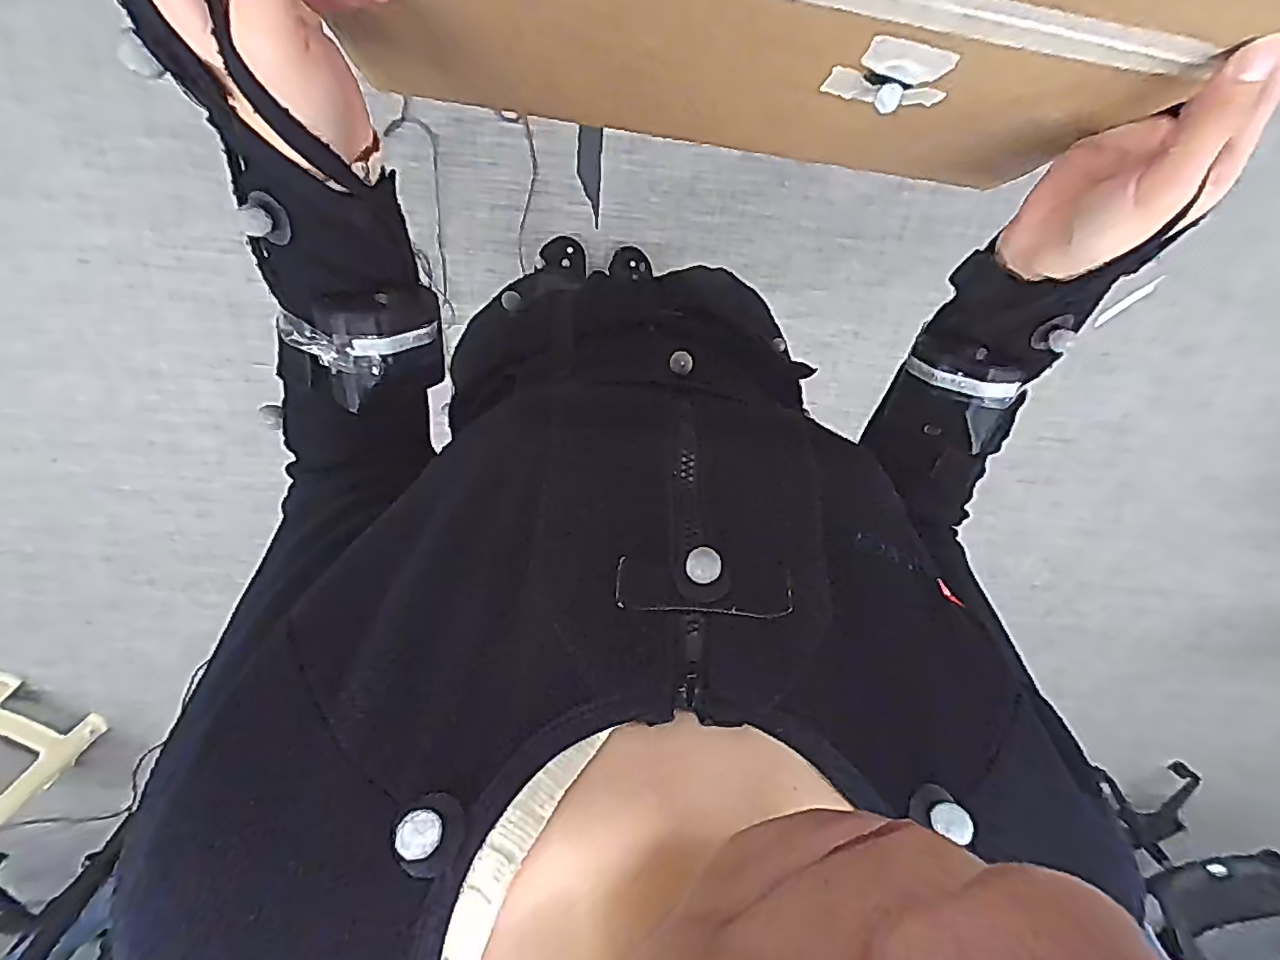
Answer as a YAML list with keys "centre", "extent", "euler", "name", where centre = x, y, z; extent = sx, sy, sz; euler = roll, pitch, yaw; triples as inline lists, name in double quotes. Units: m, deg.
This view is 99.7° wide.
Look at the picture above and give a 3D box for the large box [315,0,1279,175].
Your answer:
- centre: [0.066, -0.344, 0.177]
  extent: [0.408, 0.320, 0.320]
  euler: [3, 101, -7]
  name: "large box"
